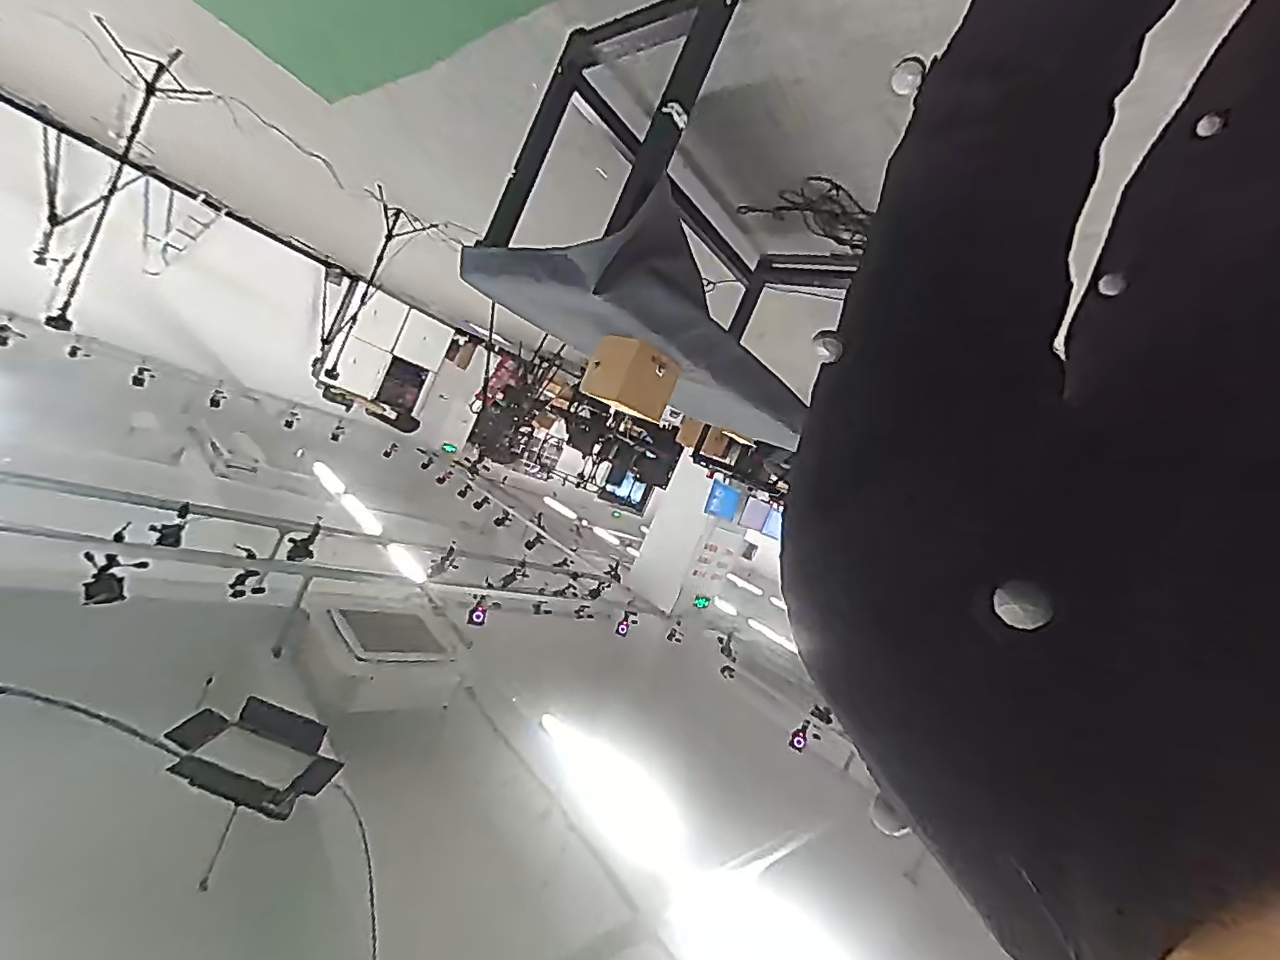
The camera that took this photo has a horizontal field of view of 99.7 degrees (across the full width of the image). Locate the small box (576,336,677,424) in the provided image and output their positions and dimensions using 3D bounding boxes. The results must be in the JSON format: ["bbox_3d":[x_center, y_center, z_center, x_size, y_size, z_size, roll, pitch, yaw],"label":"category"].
[{"bbox_3d":[-0.033,-0.267,1.422,0.168,0.176,0.179,20,-177,-41],"label":"small box"}]
